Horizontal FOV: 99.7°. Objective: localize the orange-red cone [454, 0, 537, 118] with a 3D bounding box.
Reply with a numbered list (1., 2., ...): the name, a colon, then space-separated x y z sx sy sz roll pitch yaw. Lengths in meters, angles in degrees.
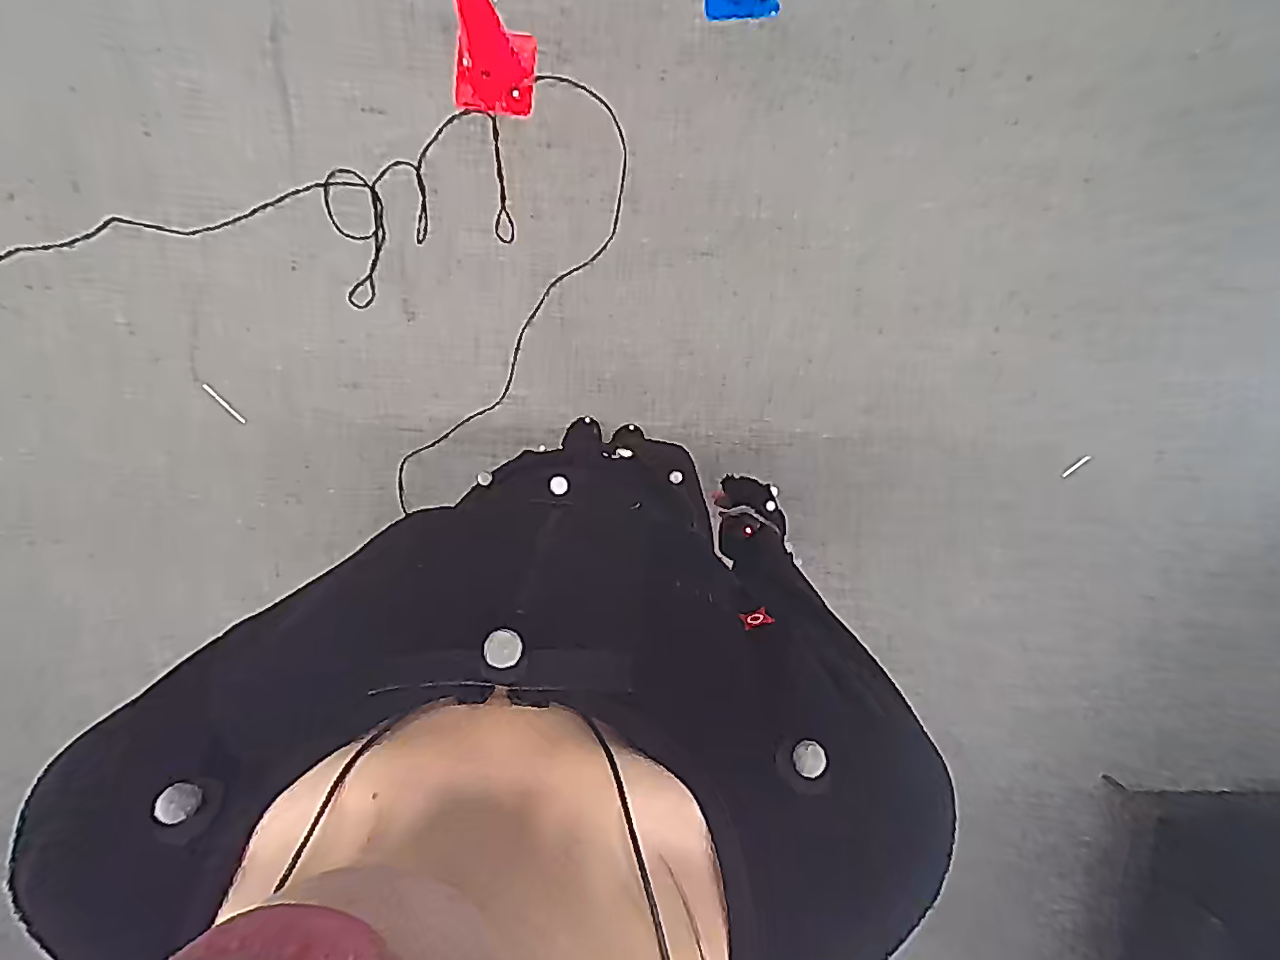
1. orange-red cone: -0.360 -1.033 1.217 0.198 0.360 0.199 7 94 -4
